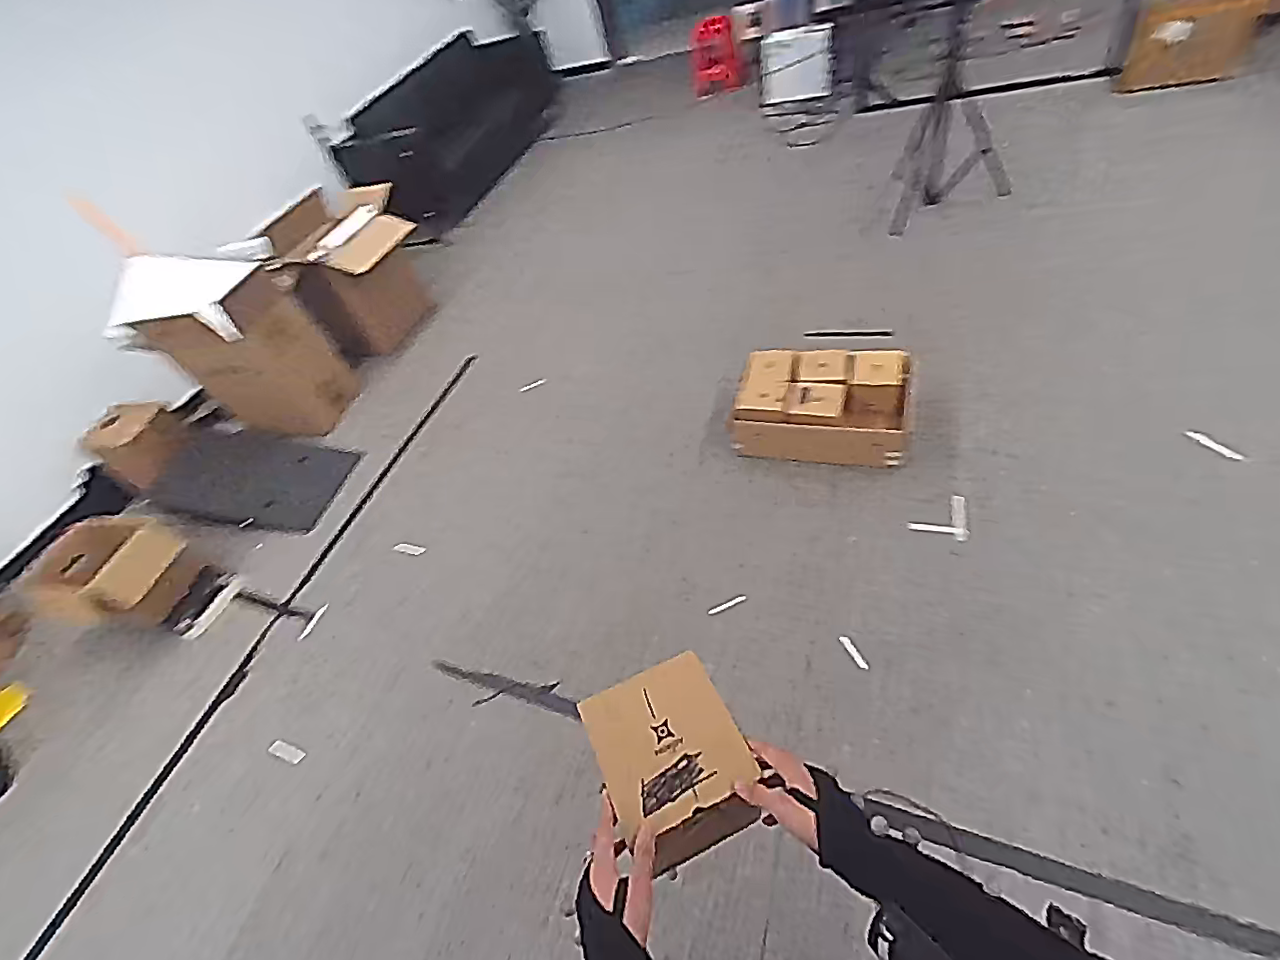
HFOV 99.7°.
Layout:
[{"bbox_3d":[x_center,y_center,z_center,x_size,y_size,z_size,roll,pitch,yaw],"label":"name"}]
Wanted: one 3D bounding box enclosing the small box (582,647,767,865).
[{"bbox_3d":[0.044,0.352,0.682,0.168,0.176,0.179,-21,45,-11],"label":"small box"}]
